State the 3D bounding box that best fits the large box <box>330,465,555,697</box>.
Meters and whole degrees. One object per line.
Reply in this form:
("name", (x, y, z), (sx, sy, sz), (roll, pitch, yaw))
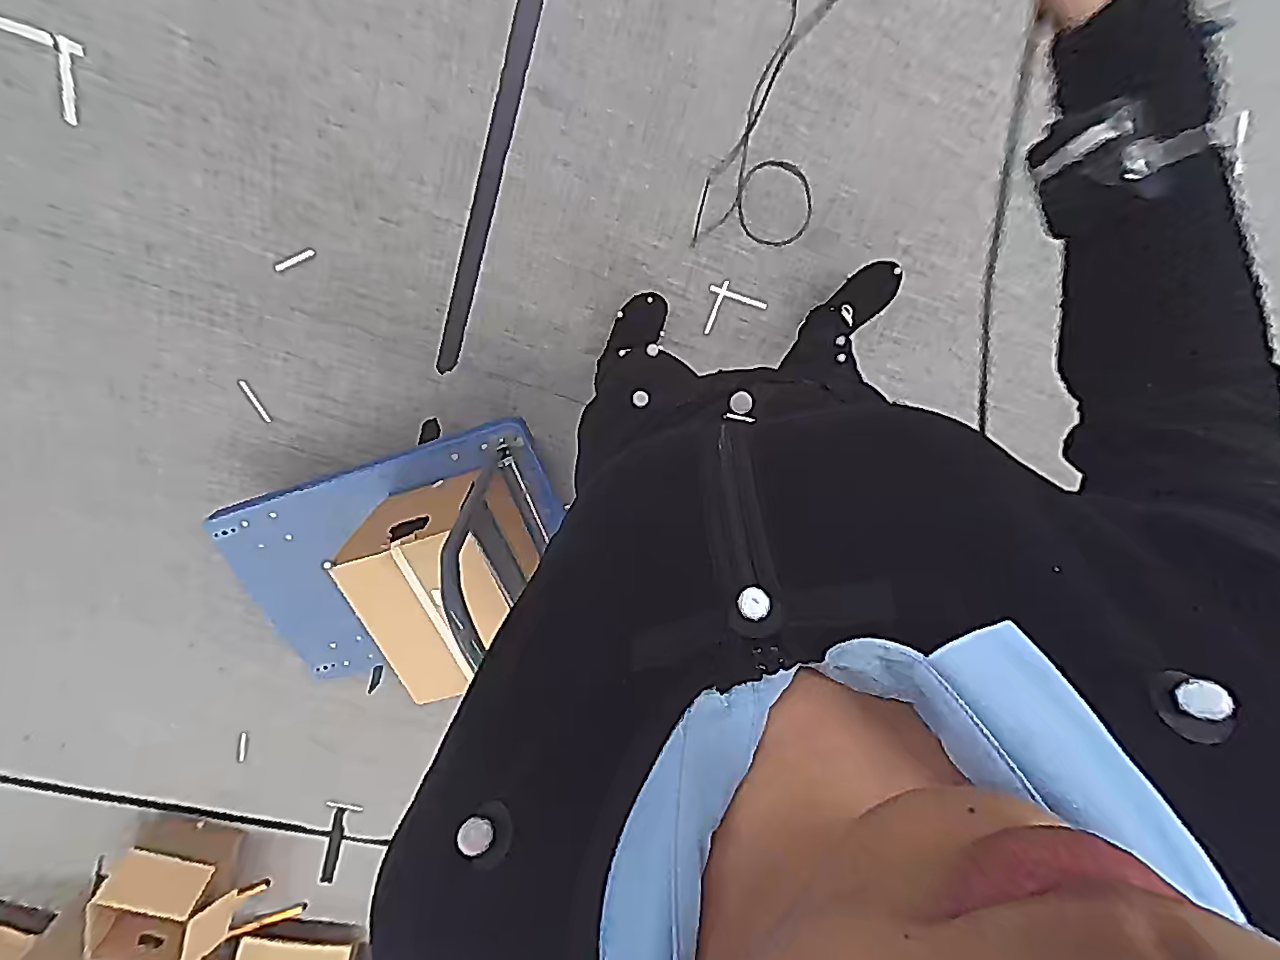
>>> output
("large box", (-0.431, 0.233, 1.300), (0.320, 0.320, 0.408), (-17, 114, 5))
